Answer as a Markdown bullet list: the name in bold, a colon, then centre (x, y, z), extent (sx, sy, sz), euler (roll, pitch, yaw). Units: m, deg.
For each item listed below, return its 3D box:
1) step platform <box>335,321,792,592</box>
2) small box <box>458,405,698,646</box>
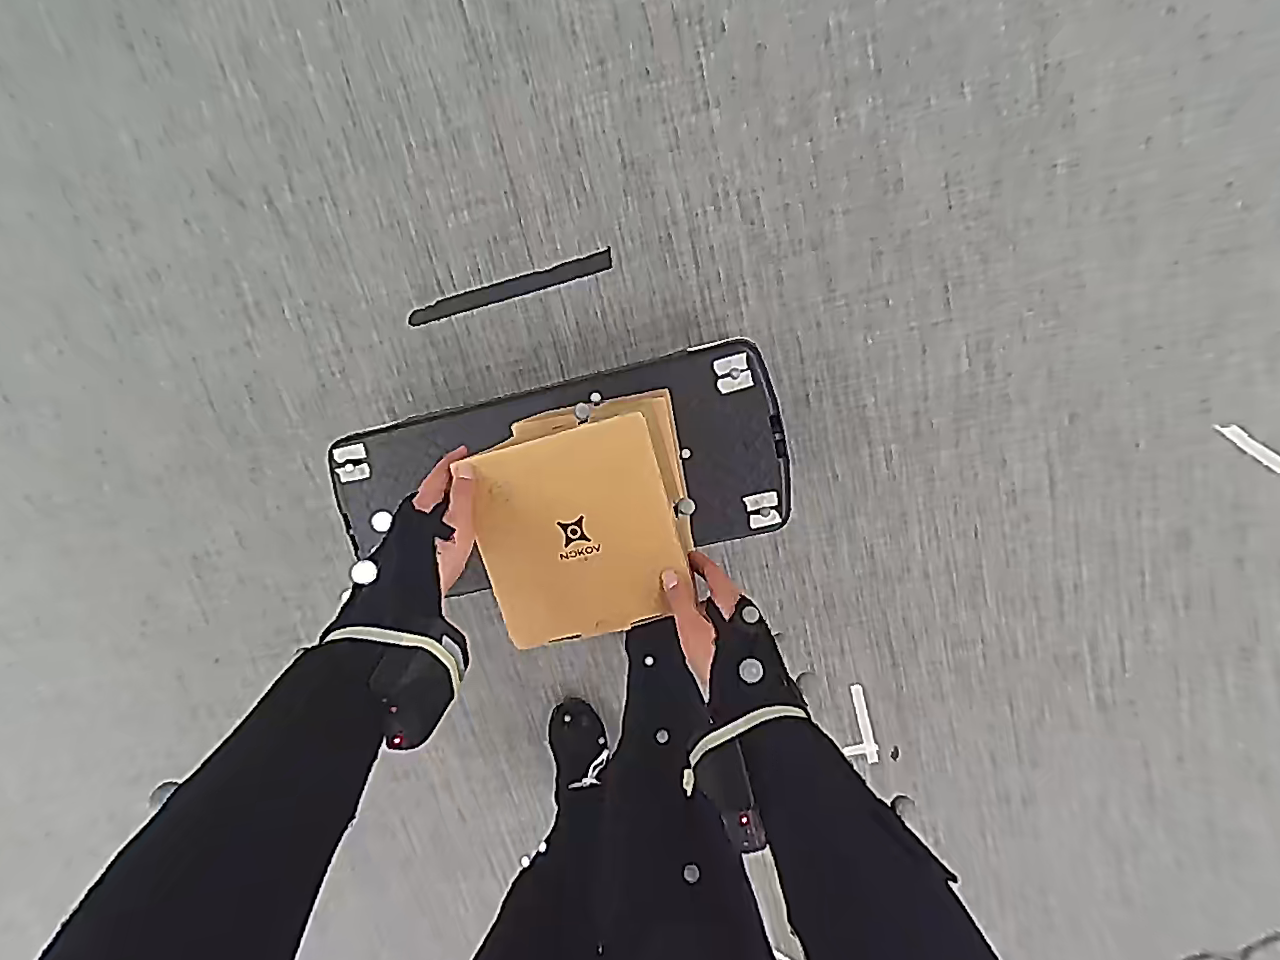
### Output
- **step platform**: centre (-0.112, -0.034, 0.863), extent (0.684, 0.204, 0.286), euler (-13, 100, 7)
- **small box**: centre (-0.047, 0.029, 0.529), extent (0.168, 0.176, 0.179), euler (-15, 101, 6)
